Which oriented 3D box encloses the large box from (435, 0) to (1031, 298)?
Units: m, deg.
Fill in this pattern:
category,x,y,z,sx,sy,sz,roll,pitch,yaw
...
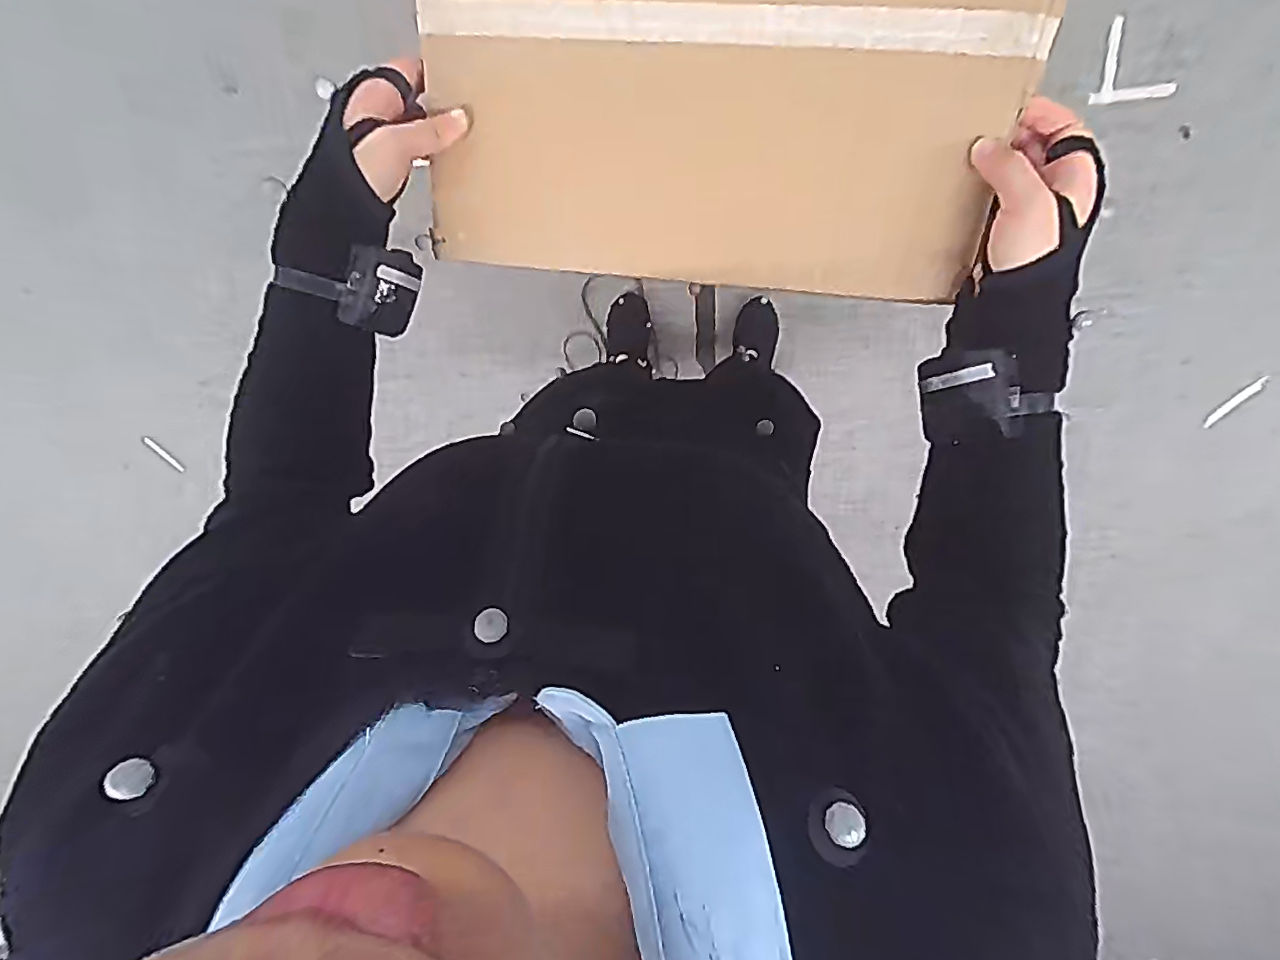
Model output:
category,x,y,z,sx,sy,sz,roll,pitch,yaw
large box,0.072,-0.354,0.505,0.408,0.320,0.320,7,111,7
